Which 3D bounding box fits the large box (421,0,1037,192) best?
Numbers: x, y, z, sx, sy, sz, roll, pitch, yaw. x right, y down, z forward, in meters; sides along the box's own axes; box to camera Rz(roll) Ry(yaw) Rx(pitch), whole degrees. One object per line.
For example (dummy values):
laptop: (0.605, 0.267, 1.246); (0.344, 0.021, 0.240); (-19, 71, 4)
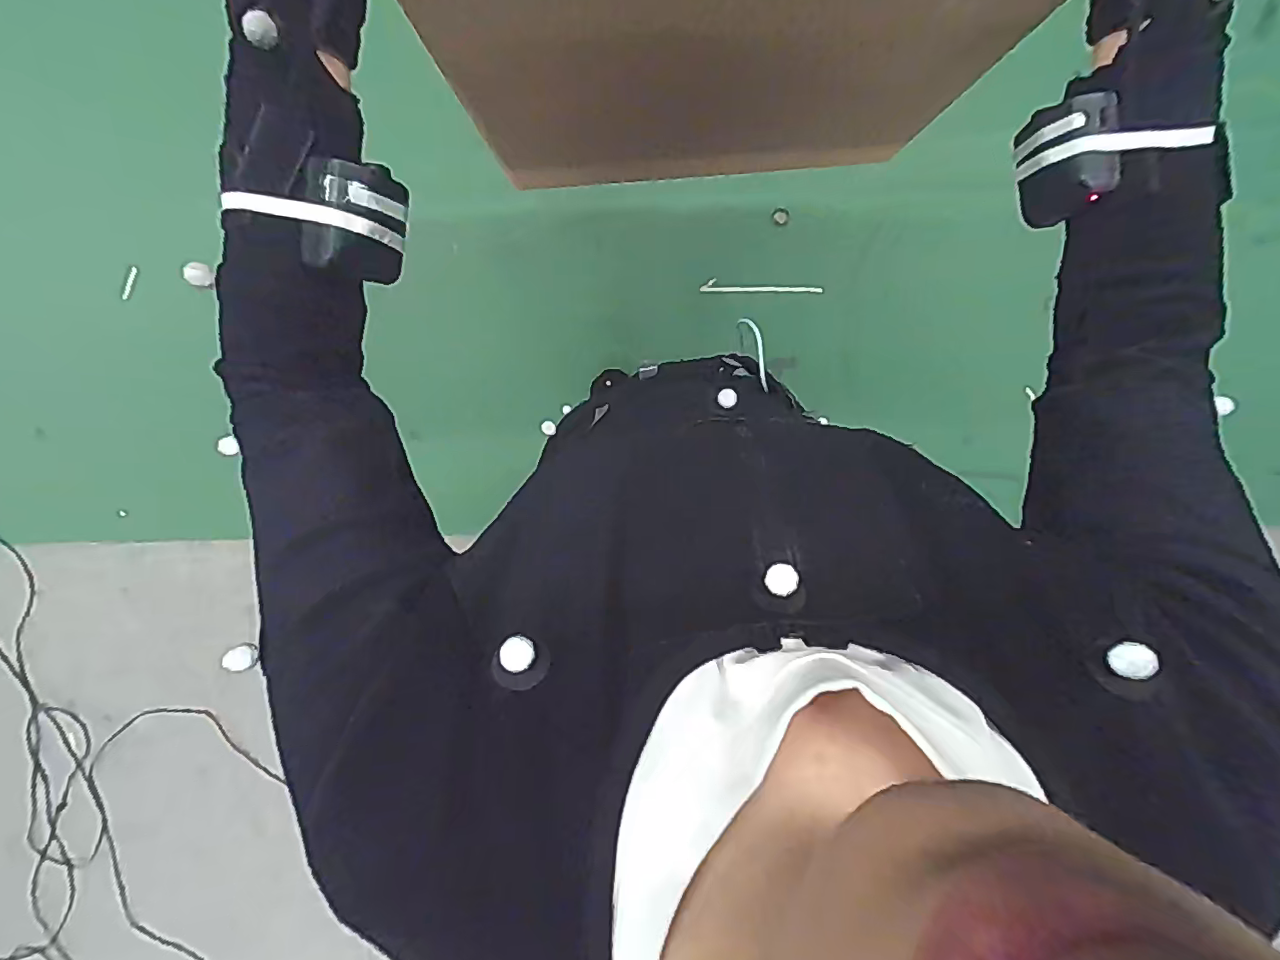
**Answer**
large box: (0.052, -0.453, 0.410); (0.408, 0.320, 0.320); (-6, 100, 0)
